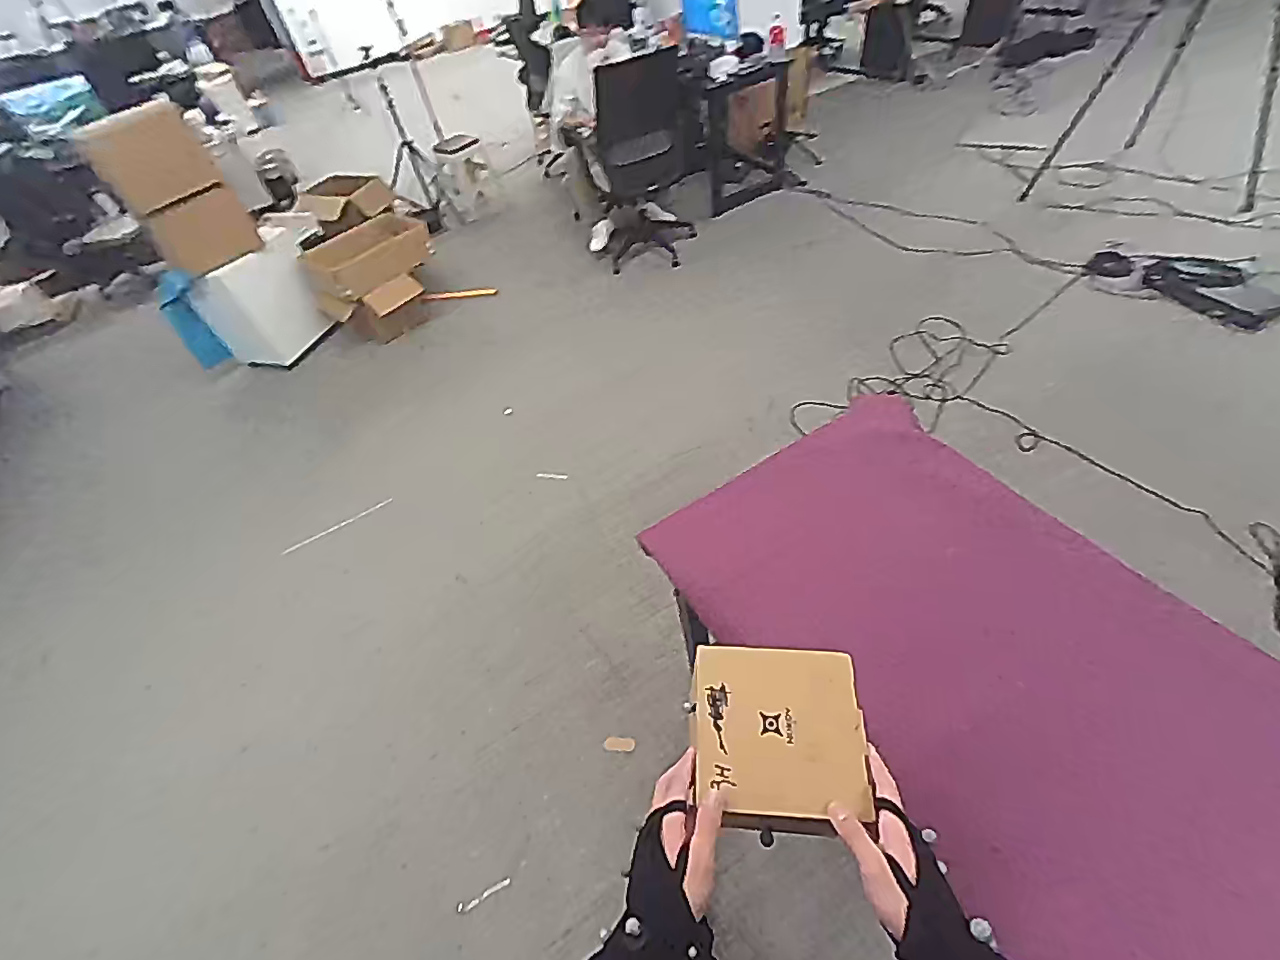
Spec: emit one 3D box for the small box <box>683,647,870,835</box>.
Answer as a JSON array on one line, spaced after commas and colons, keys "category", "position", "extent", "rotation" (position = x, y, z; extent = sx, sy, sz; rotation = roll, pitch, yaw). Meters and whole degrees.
[{"category": "small box", "position": [0.145, 0.311, 0.637], "extent": [0.179, 0.176, 0.168], "rotation": [2, 53, 4]}]
